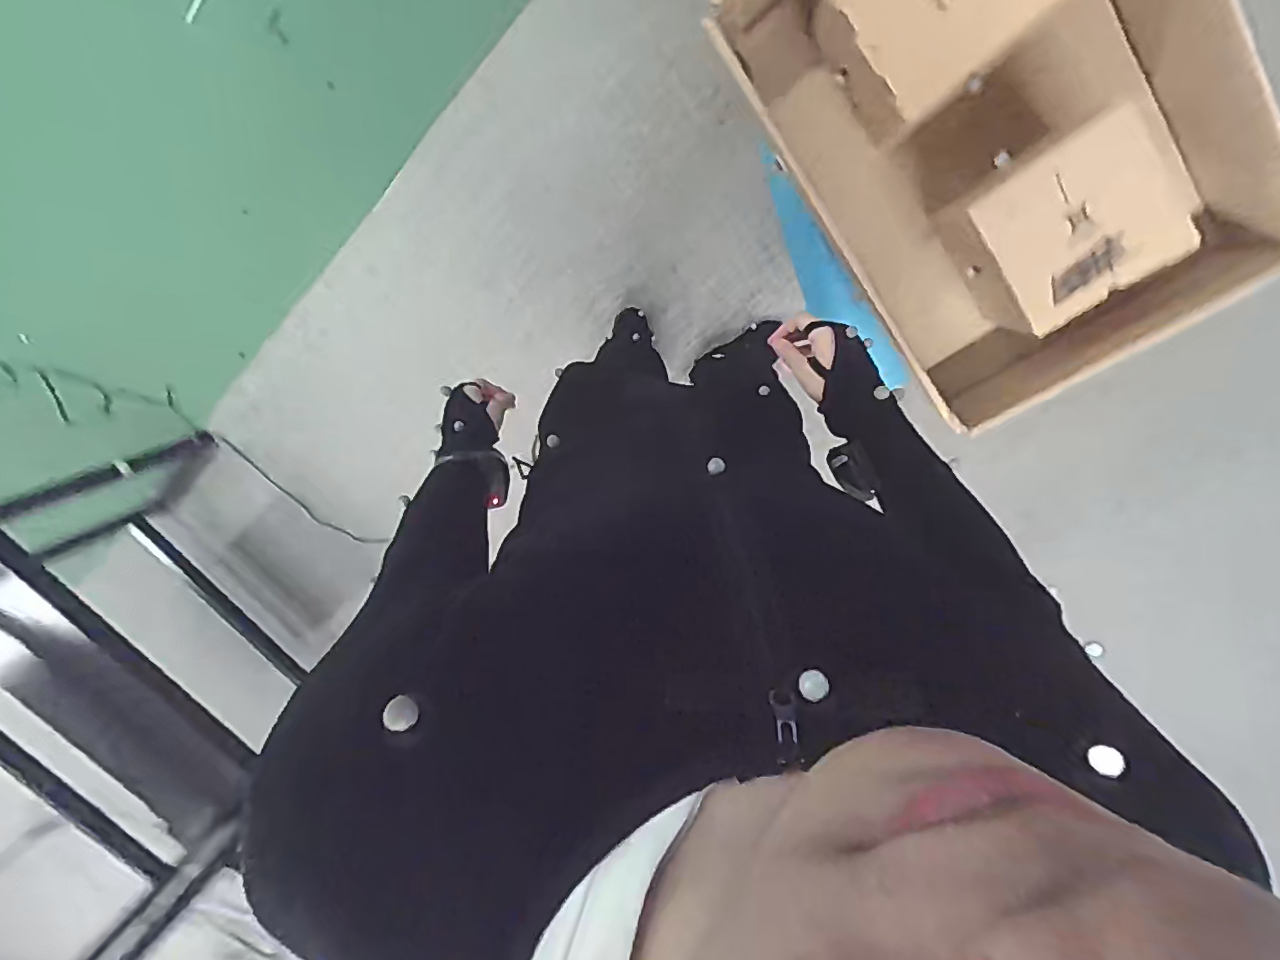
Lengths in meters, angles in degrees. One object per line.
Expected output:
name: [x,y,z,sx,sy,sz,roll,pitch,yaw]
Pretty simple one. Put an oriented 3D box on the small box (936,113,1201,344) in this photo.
small box: [0.499,-0.294,0.659,0.168,0.176,0.179,-33,101,22]
